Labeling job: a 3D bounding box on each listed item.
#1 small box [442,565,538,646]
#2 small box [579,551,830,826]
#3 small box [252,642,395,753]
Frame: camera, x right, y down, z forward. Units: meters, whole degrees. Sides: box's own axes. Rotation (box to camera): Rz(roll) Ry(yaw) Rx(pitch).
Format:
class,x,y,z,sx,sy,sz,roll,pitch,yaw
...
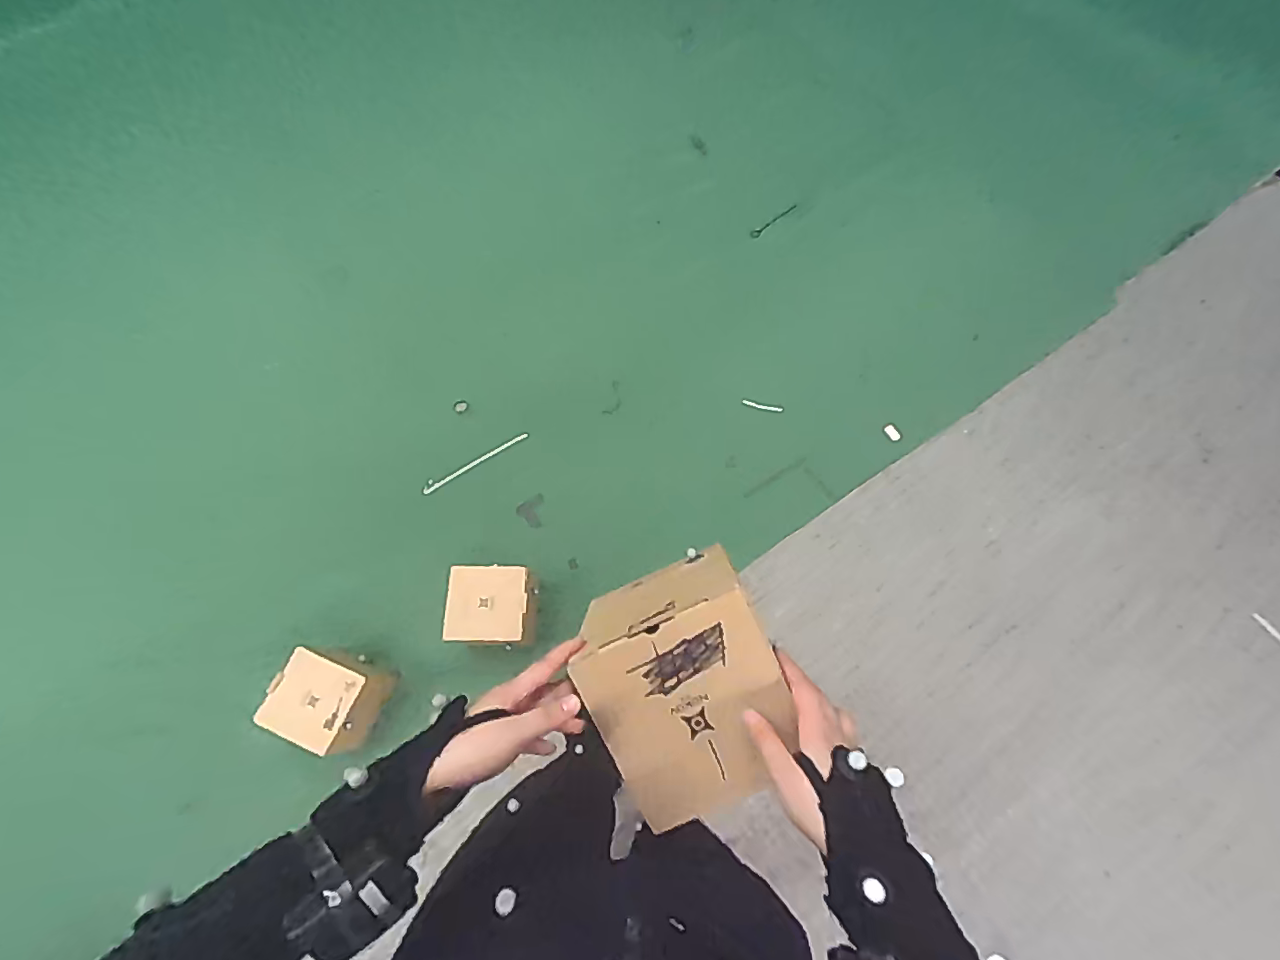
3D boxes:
class,x,y,z,sx,sy,sz,roll,pitch,yaw
small box,-0.341,0.298,1.269,0.179,0.176,0.168,0,69,-1
small box,0.057,0.185,0.540,0.168,0.176,0.179,-25,95,5
small box,-0.687,0.477,1.196,0.179,0.176,0.168,22,71,7
